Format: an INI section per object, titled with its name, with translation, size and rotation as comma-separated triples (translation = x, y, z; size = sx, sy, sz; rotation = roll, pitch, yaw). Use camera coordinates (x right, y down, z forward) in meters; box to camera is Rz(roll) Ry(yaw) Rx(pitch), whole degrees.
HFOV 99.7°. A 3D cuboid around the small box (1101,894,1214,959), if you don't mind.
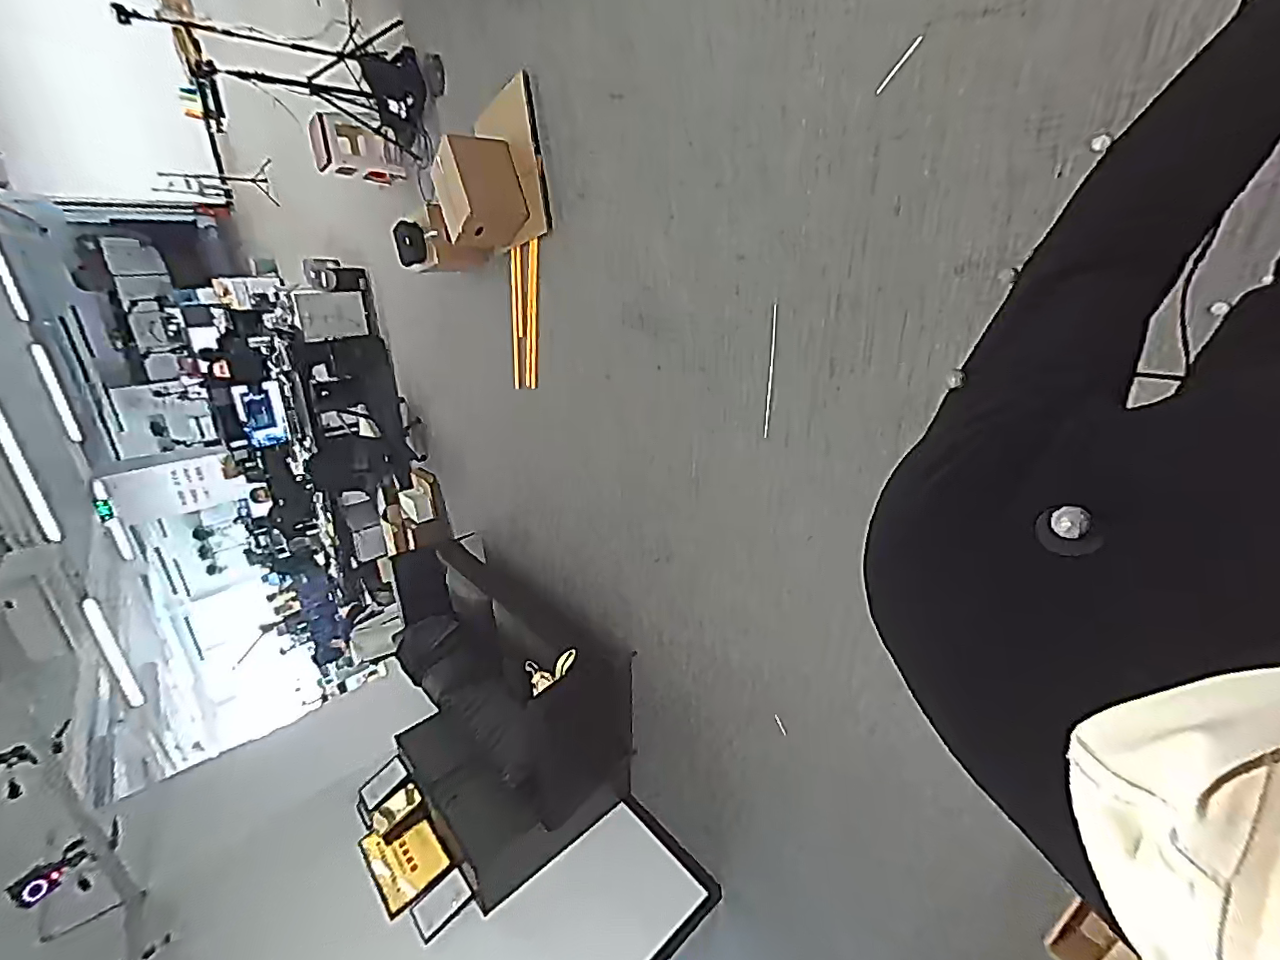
[small box]
translation = 1.322, 1.225, 1.386
size = 0.168, 0.176, 0.179
rotation = 27, 126, 41
